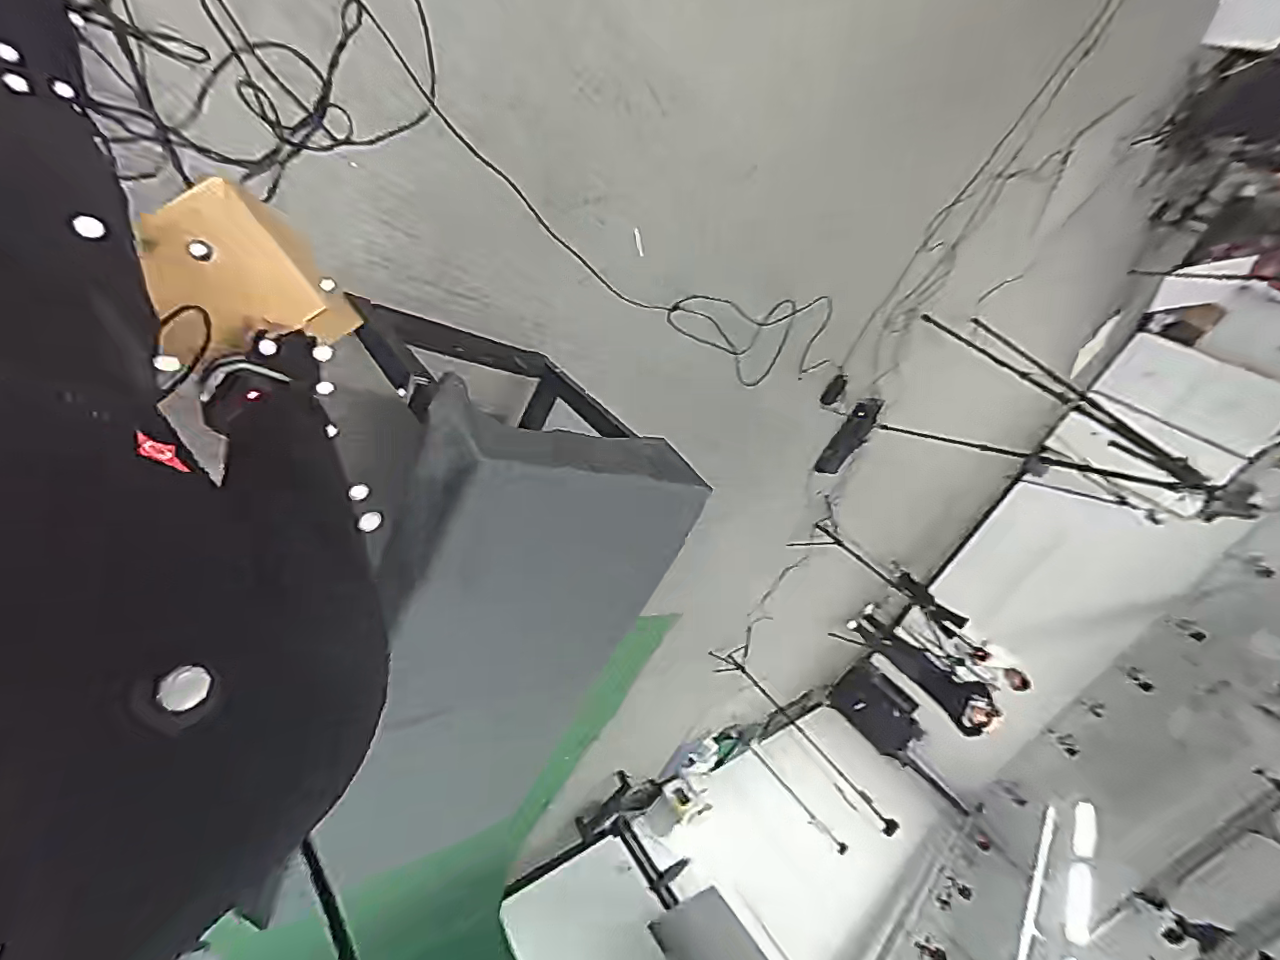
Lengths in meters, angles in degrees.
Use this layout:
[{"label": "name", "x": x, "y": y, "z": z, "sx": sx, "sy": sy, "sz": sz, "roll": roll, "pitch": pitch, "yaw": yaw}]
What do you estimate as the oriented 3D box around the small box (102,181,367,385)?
[{"label": "small box", "x": -0.481, "y": -0.235, "z": 0.673, "sx": 0.168, "sy": 0.179, "sz": 0.176, "roll": -35, "pitch": 107, "yaw": -6}]
